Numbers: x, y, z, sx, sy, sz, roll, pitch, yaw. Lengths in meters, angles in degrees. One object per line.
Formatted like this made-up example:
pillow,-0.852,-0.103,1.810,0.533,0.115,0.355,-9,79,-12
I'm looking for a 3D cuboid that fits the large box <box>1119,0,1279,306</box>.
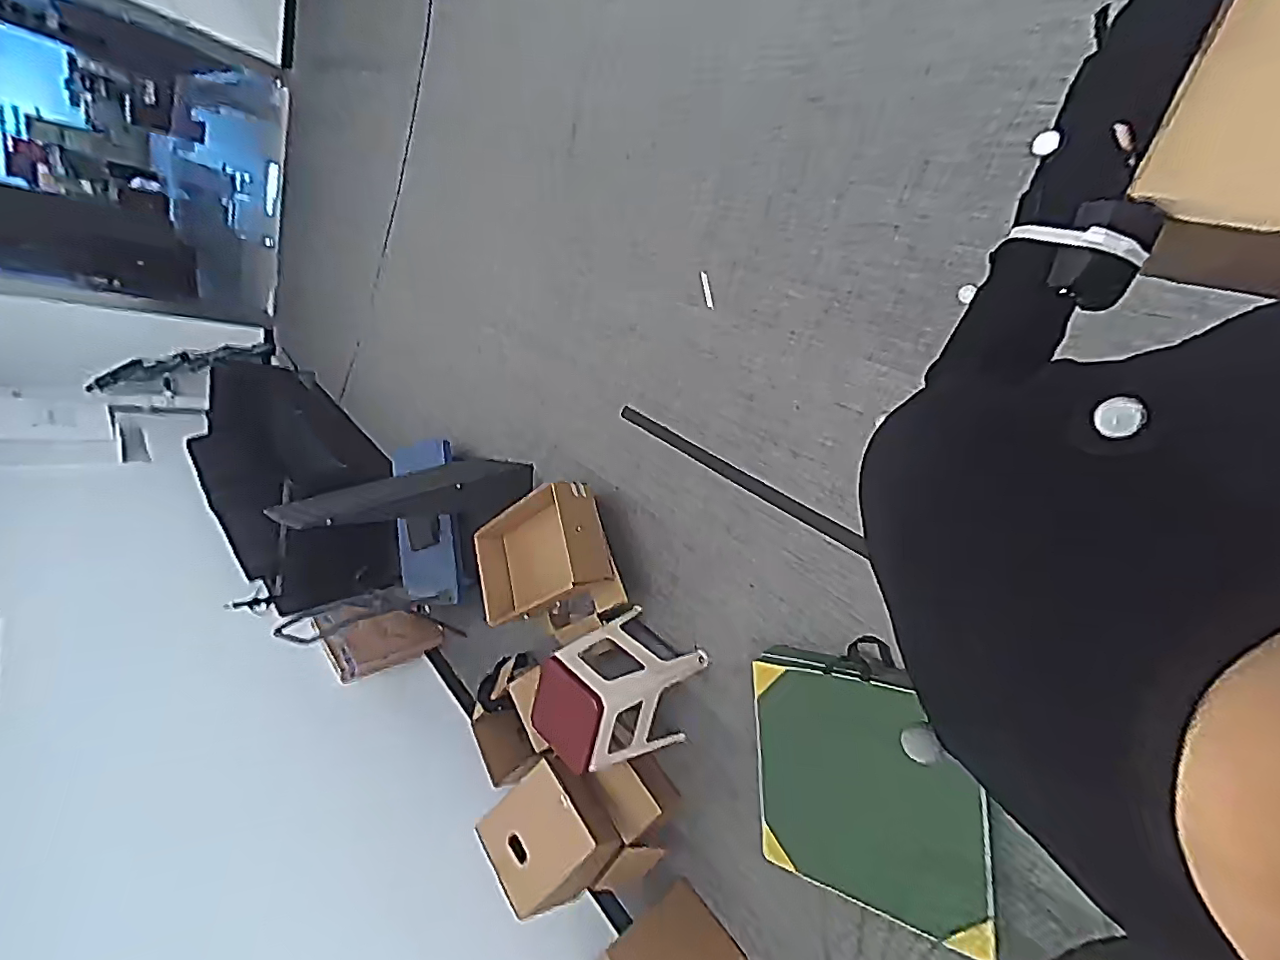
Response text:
large box,0.630,-0.270,0.349,0.408,0.320,0.320,30,117,34
